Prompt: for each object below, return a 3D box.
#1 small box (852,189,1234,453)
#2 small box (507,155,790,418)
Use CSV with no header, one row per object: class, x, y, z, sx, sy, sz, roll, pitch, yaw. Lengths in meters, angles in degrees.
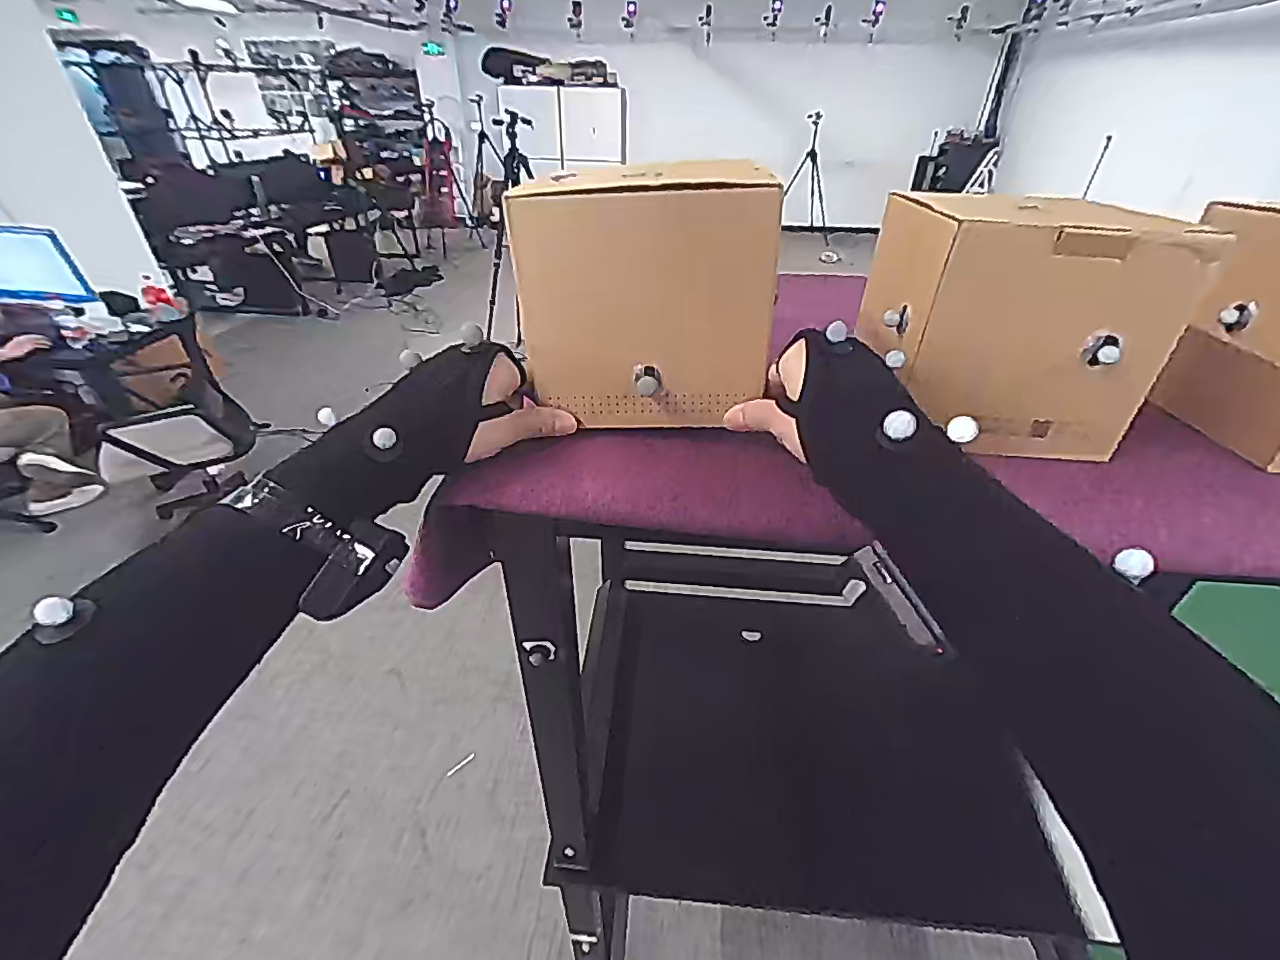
small box,0.291,-0.136,0.447,0.168,0.176,0.179,6,33,5
small box,0.011,-0.158,0.438,0.179,0.176,0.168,0,34,4
